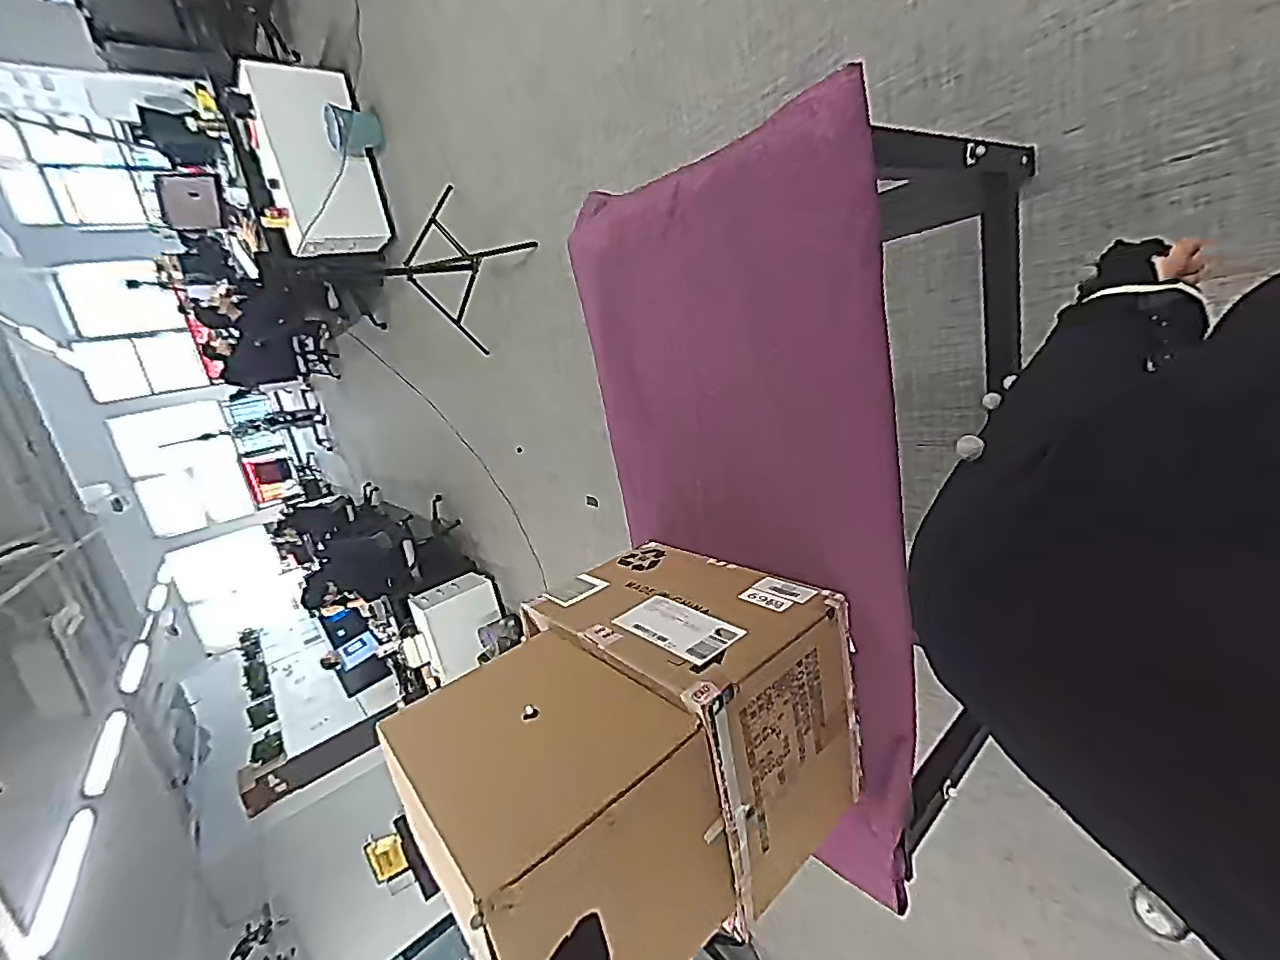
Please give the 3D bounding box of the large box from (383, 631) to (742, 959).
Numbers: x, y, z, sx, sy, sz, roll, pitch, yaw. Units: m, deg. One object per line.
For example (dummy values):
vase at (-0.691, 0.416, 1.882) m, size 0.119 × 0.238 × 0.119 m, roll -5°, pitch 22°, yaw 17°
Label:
large box at (-0.121, 0.465, 0.778) m, size 0.408 × 0.320 × 0.320 m, roll 6°, pitch 113°, yaw 51°
